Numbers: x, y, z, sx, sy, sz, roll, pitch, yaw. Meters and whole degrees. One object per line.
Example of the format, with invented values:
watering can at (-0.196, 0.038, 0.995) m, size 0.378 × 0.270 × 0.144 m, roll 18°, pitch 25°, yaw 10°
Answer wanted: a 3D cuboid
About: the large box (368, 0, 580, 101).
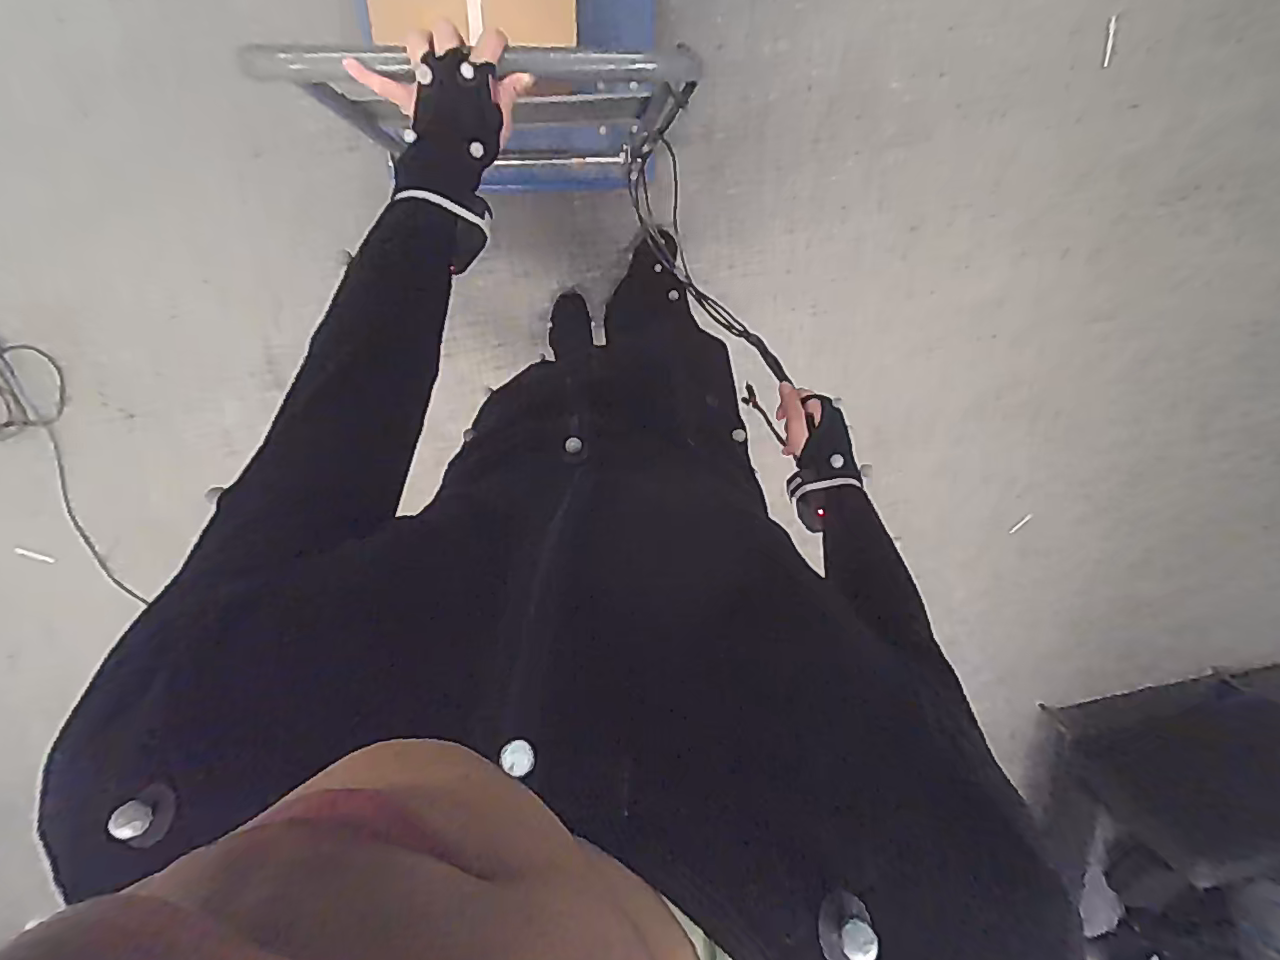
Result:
large box at (-0.264, -0.902, 0.895) m, size 0.320 × 0.320 × 0.408 m, roll -2°, pitch 113°, yaw -7°
